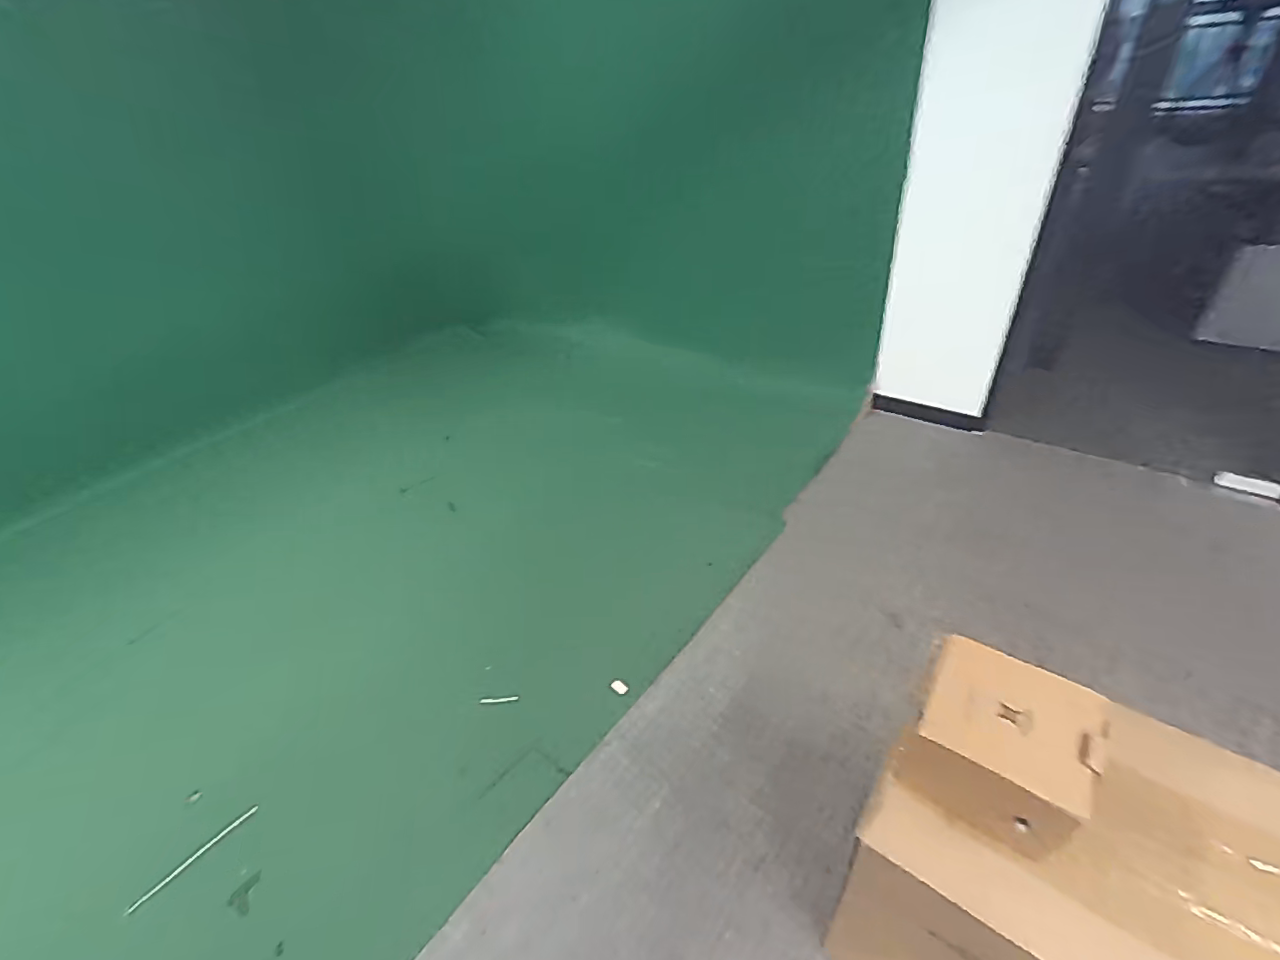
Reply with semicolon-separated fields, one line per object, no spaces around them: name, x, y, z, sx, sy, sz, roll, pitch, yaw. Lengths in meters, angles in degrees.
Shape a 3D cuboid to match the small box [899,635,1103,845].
small box;0.472;0.349;0.725;0.179;0.176;0.168;20;50;33
